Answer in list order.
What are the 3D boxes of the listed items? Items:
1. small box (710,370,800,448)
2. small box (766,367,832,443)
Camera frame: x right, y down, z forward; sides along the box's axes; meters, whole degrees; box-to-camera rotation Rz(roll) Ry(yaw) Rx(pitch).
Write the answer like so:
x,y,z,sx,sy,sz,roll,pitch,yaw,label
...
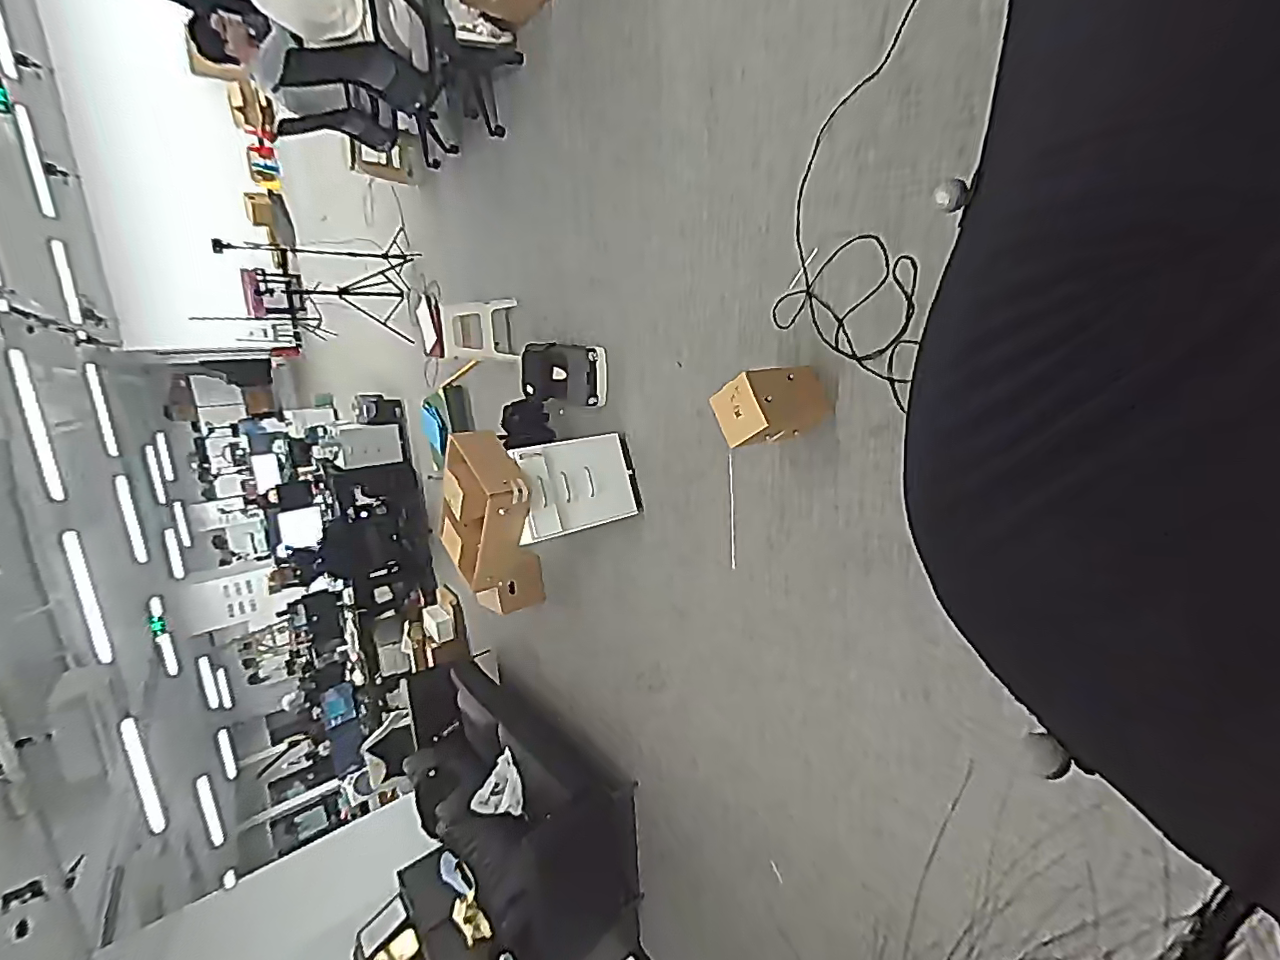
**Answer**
x,y,z,sx,sy,sz,roll,pitch,yaw,label
0.347,-0.216,1.619,0.168,0.176,0.179,-35,73,51,small box
0.475,-0.243,1.720,0.168,0.176,0.179,-43,66,49,small box
